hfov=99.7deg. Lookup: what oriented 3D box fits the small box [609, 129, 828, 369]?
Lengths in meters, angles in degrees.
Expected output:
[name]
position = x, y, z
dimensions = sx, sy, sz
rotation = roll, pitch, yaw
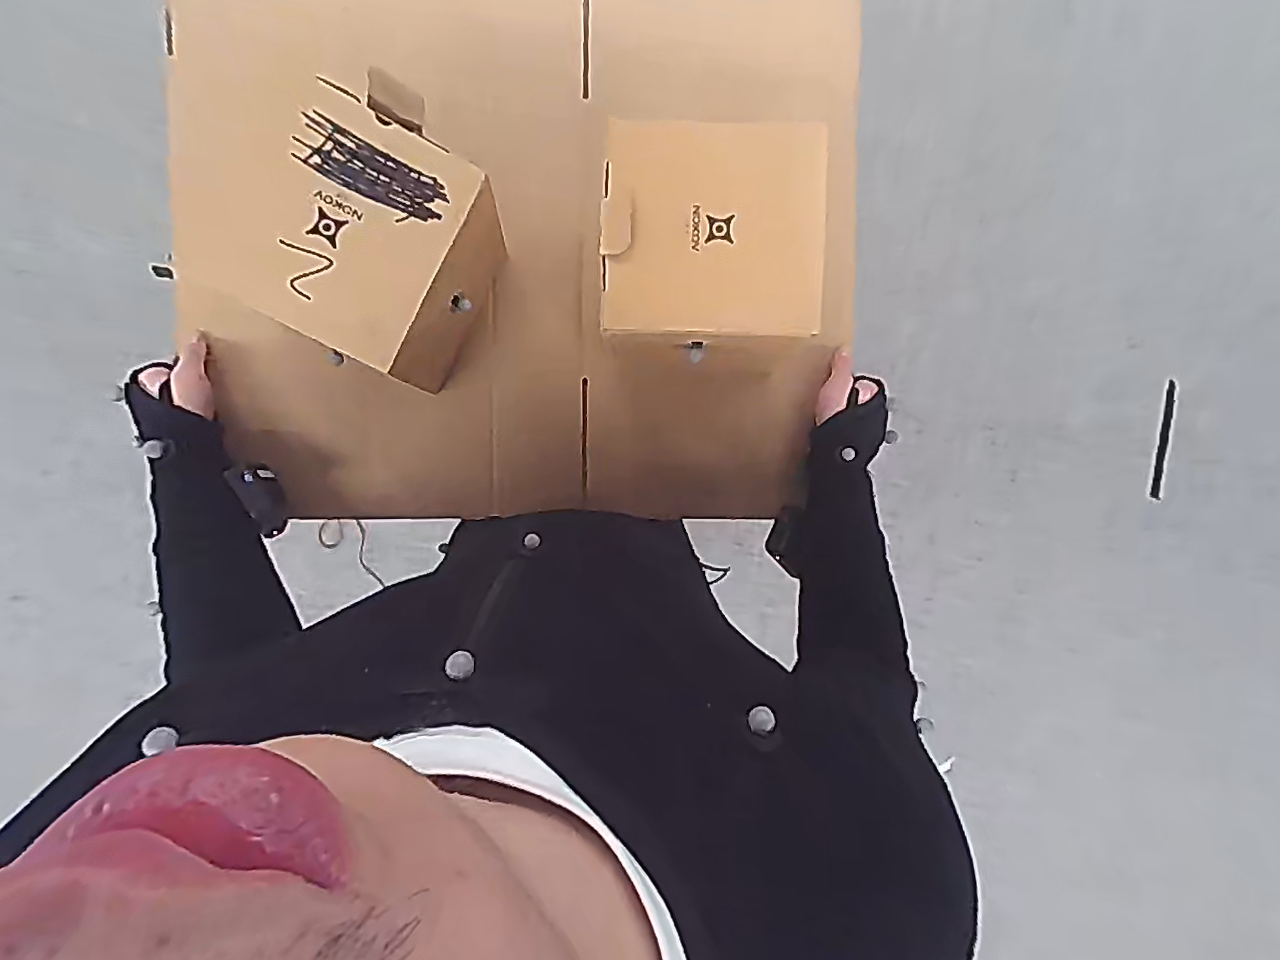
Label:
[small box]
position = 0.065, -0.205, 0.522
dimensions = 0.179, 0.176, 0.168
rotation = 1, 92, 2
